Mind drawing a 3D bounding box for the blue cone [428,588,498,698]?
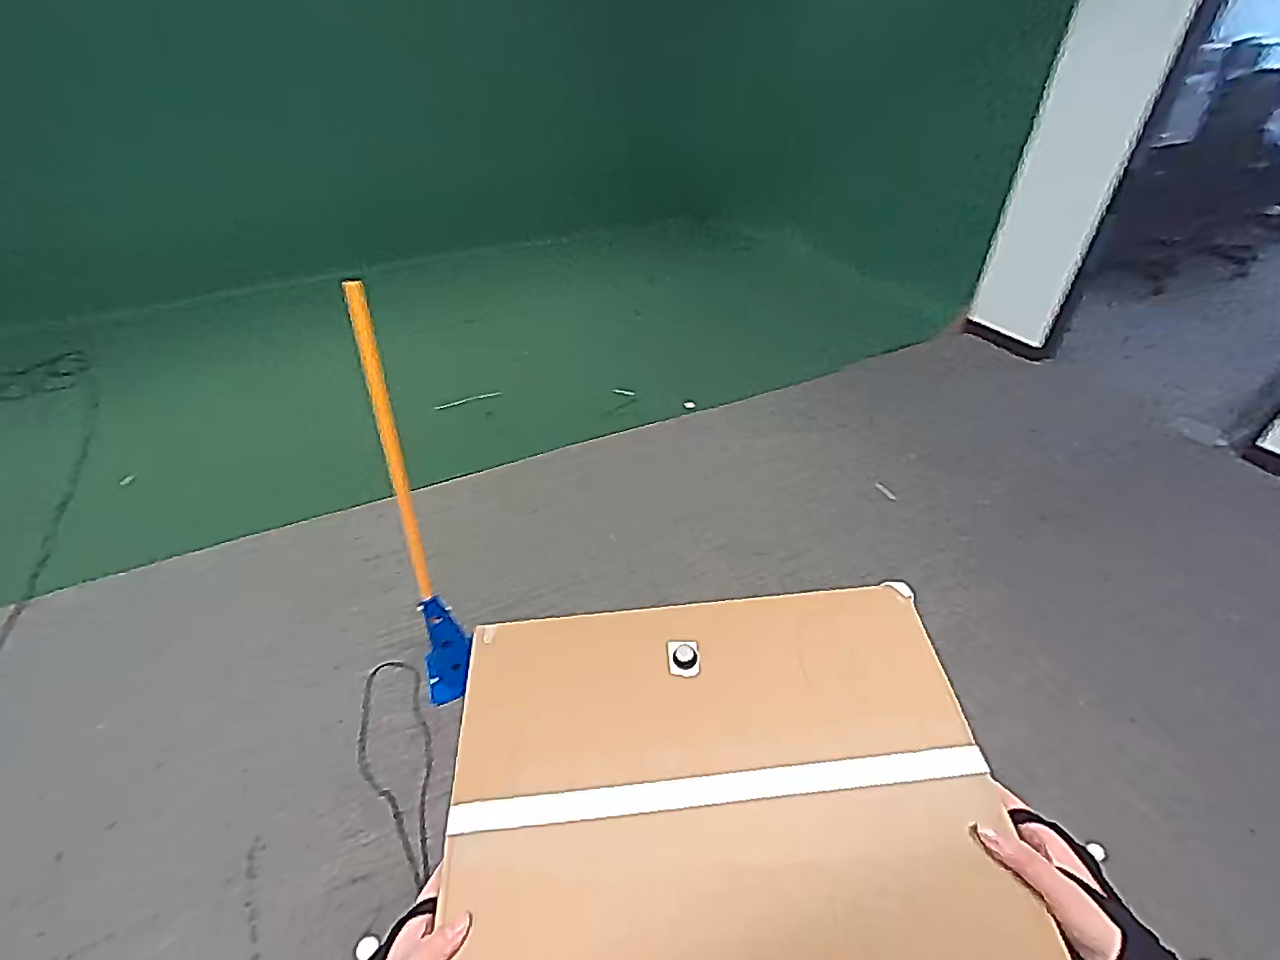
[{"bbox_3d":[-0.557,0.442,1.582,0.193,0.380,0.192,-18,42,-18],"label":"blue cone"}]
